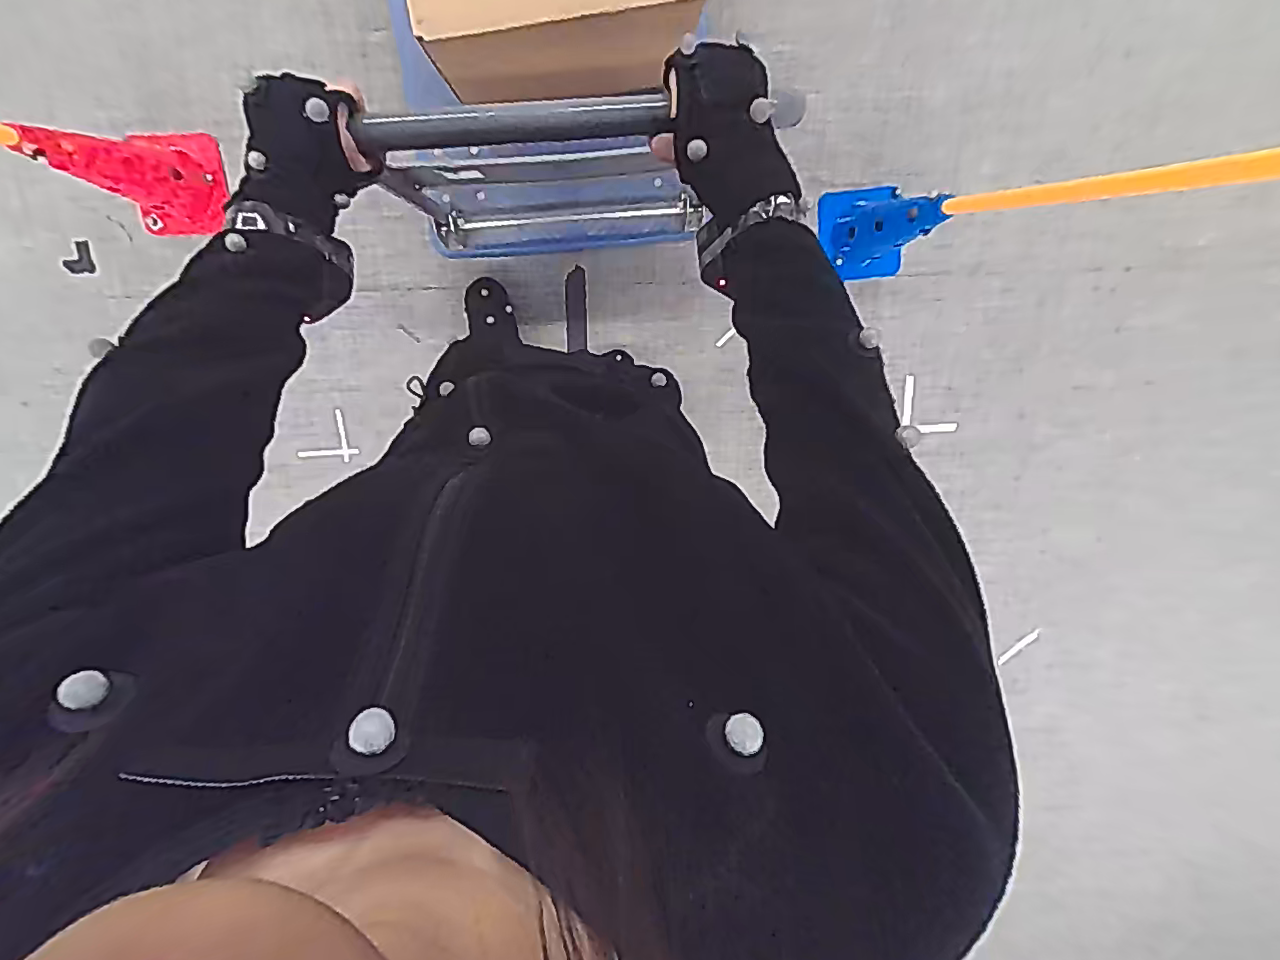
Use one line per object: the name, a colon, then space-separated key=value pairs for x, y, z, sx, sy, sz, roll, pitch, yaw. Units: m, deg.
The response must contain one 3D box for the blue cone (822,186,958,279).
blue cone: x=0.537 y=-0.540 z=1.134 sx=0.193 sy=0.380 sz=0.192 roll=-5 pitch=106 yaw=-2
